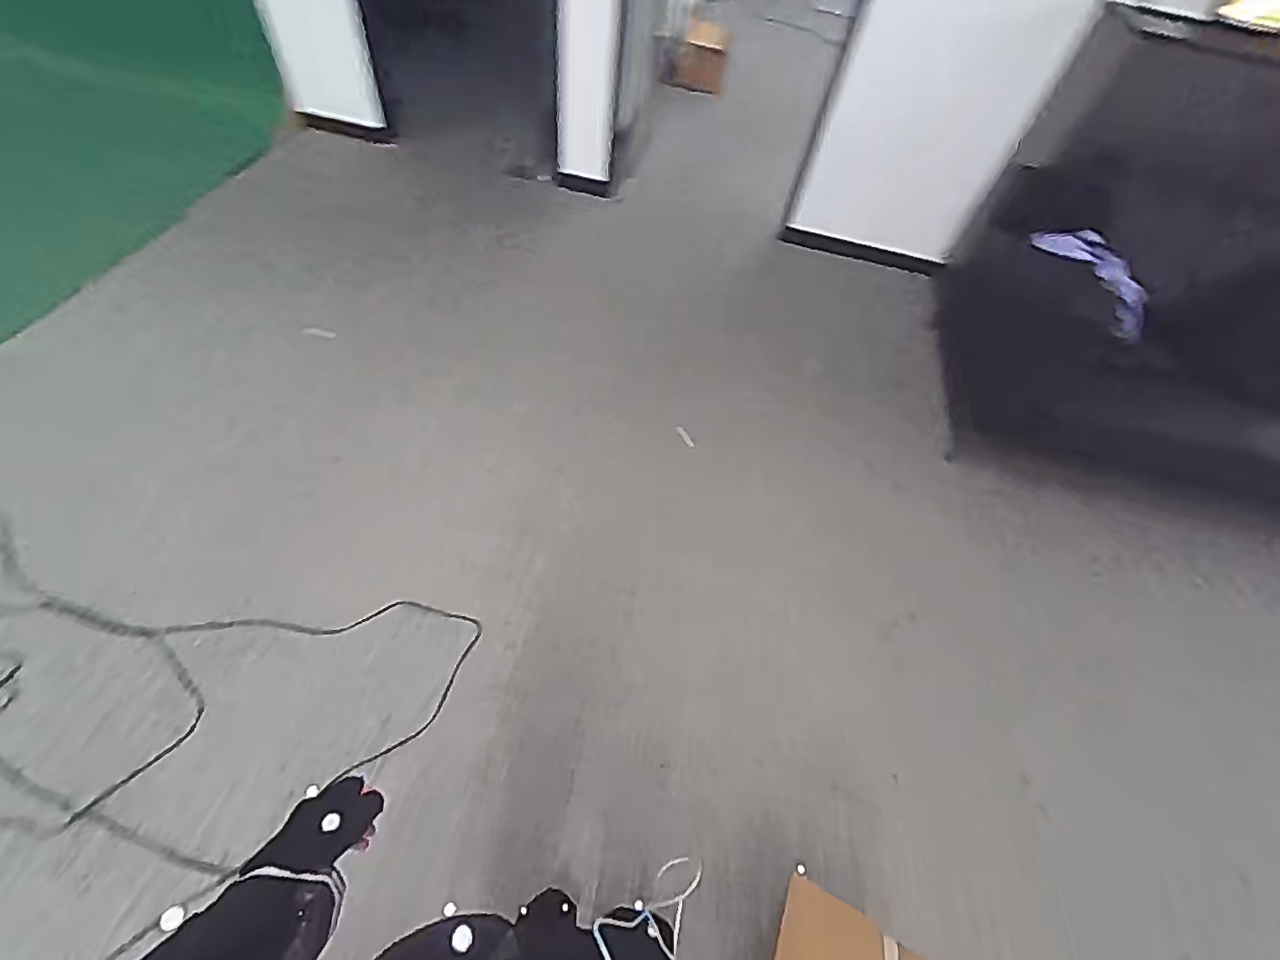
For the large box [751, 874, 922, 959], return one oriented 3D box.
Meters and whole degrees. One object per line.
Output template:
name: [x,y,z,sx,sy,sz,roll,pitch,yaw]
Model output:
large box: [0.250,0.822,0.664,0.320,0.408,0.320,25,90,22]
